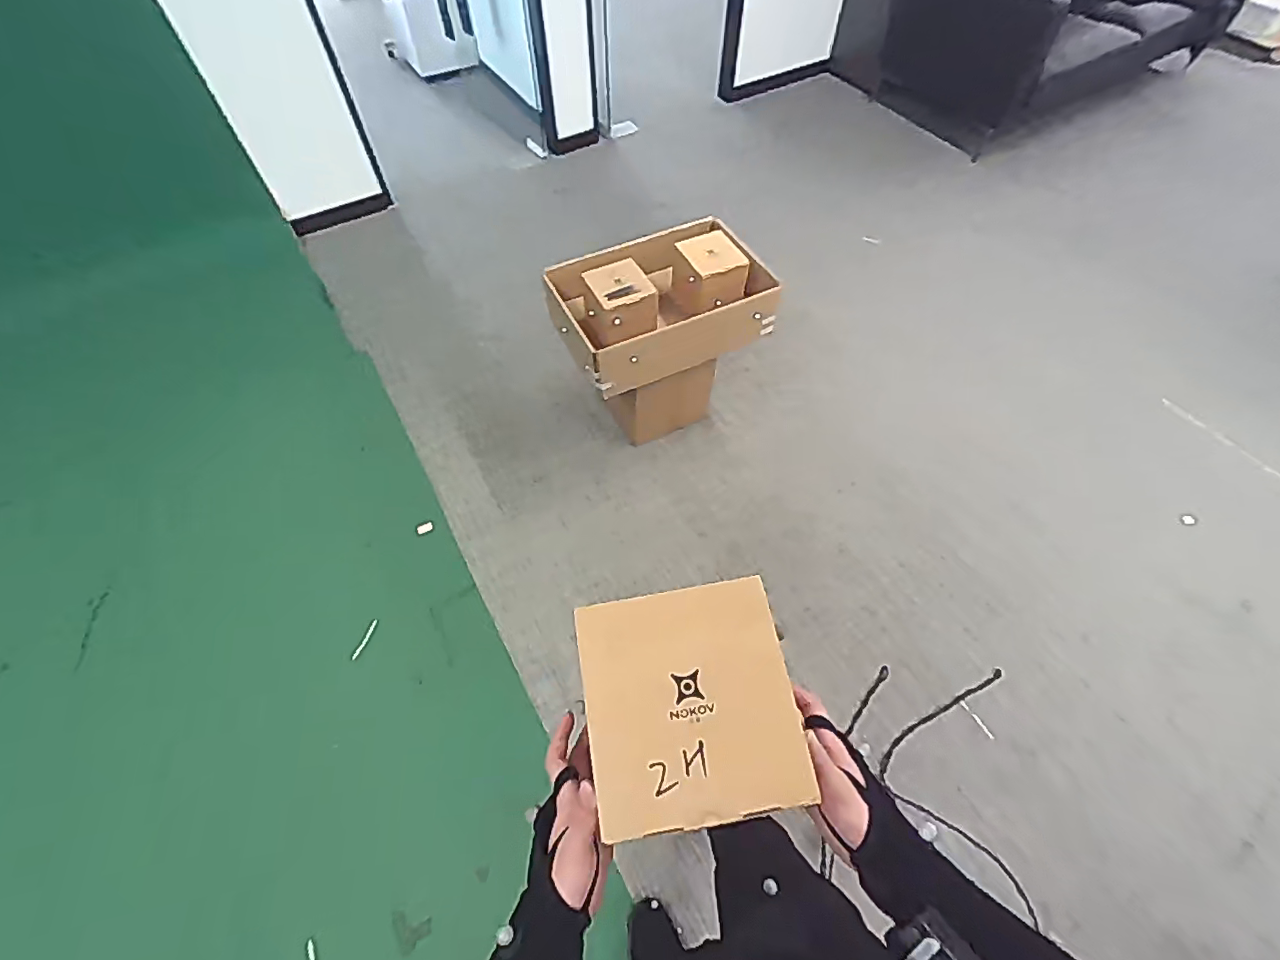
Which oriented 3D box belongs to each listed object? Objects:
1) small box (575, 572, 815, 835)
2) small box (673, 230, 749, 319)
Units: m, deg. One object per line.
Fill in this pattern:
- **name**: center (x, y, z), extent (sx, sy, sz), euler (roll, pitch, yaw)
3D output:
- **small box**: center (0.039, 0.202, 0.501), extent (0.168, 0.176, 0.179), euler (-10, 65, -1)
- **small box**: center (0.211, -0.632, 1.672), extent (0.168, 0.176, 0.179), euler (-23, 61, -14)
